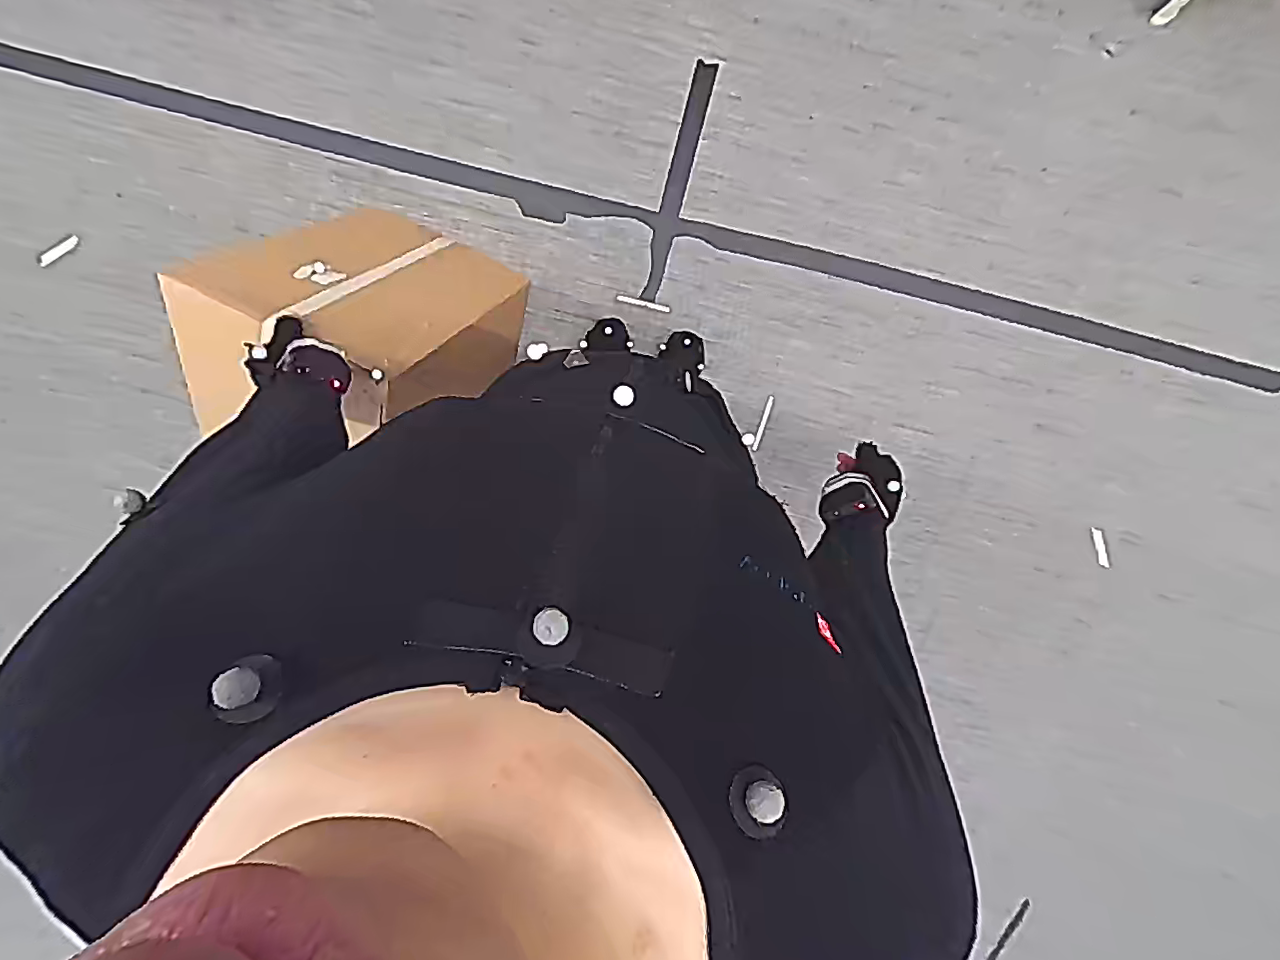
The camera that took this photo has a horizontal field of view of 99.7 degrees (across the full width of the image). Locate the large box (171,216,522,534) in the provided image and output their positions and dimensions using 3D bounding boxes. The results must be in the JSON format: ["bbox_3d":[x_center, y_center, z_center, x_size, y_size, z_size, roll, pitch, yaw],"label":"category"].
[{"bbox_3d":[-0.446,-0.190,0.920,0.320,0.408,0.320,25,131,1],"label":"large box"}]
